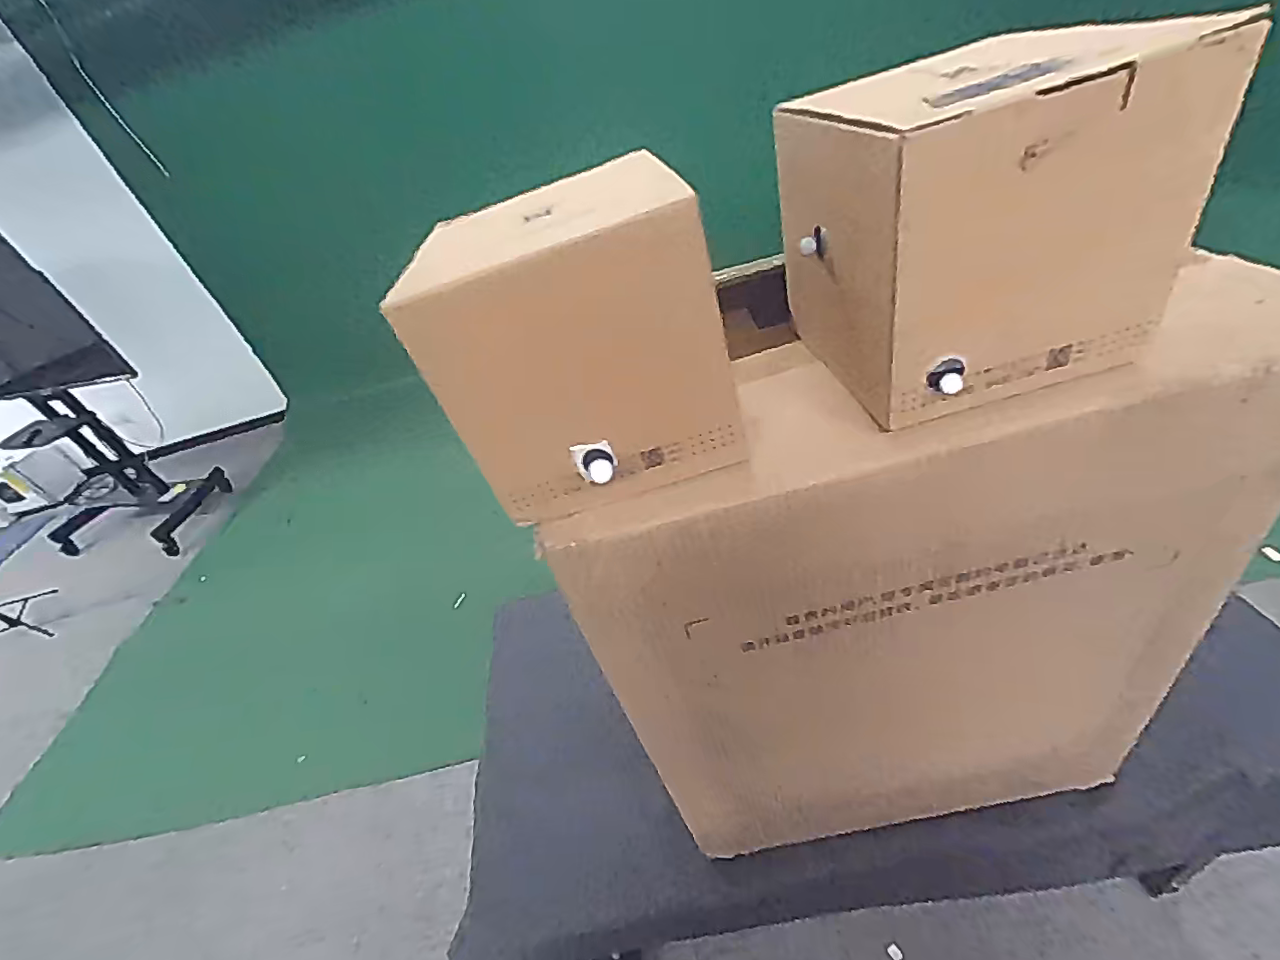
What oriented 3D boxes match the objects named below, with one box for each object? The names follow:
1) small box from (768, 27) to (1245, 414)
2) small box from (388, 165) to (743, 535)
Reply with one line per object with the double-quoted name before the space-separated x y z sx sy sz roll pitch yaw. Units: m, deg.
"small box" 0.198 -0.159 0.354 0.168 0.176 0.179 -16 37 3
"small box" -0.039 -0.092 0.381 0.168 0.176 0.179 -19 39 5
